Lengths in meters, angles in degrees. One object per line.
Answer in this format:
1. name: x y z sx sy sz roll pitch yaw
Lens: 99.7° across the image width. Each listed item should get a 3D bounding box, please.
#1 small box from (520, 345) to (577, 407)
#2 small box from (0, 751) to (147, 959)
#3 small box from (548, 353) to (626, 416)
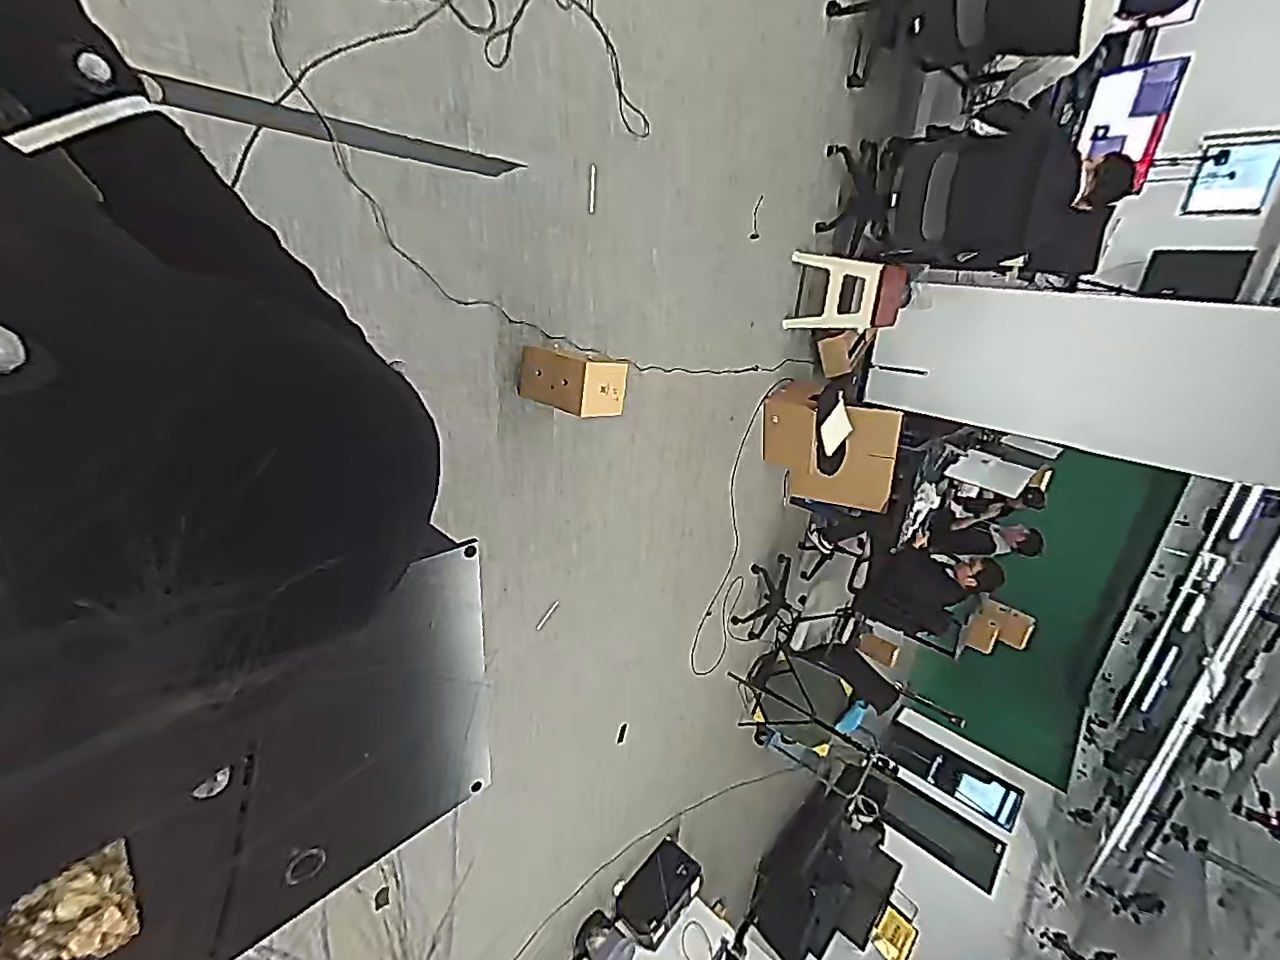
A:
1. small box: -0.282 -0.344 1.803 0.168 0.176 0.179 -7 112 -48
2. small box: -0.664 0.427 0.558 0.179 0.176 0.168 -24 124 -42
3. small box: -0.169 -0.299 1.691 0.179 0.176 0.168 -11 117 -47
